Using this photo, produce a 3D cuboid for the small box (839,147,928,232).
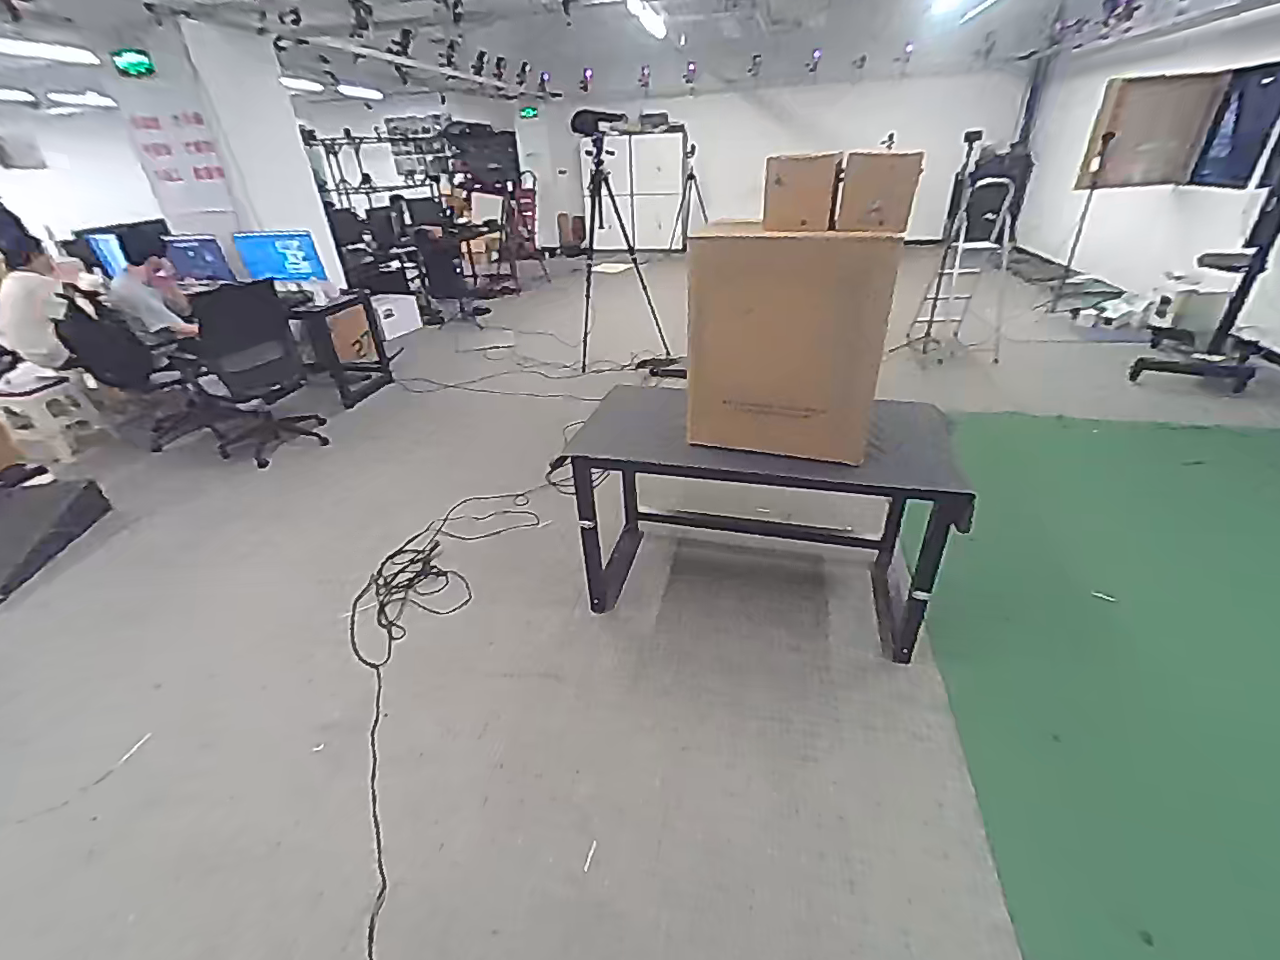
[{"bbox_3d":[0.593,-0.721,1.336,0.168,0.176,0.179,10,35,16],"label":"small box"}]
